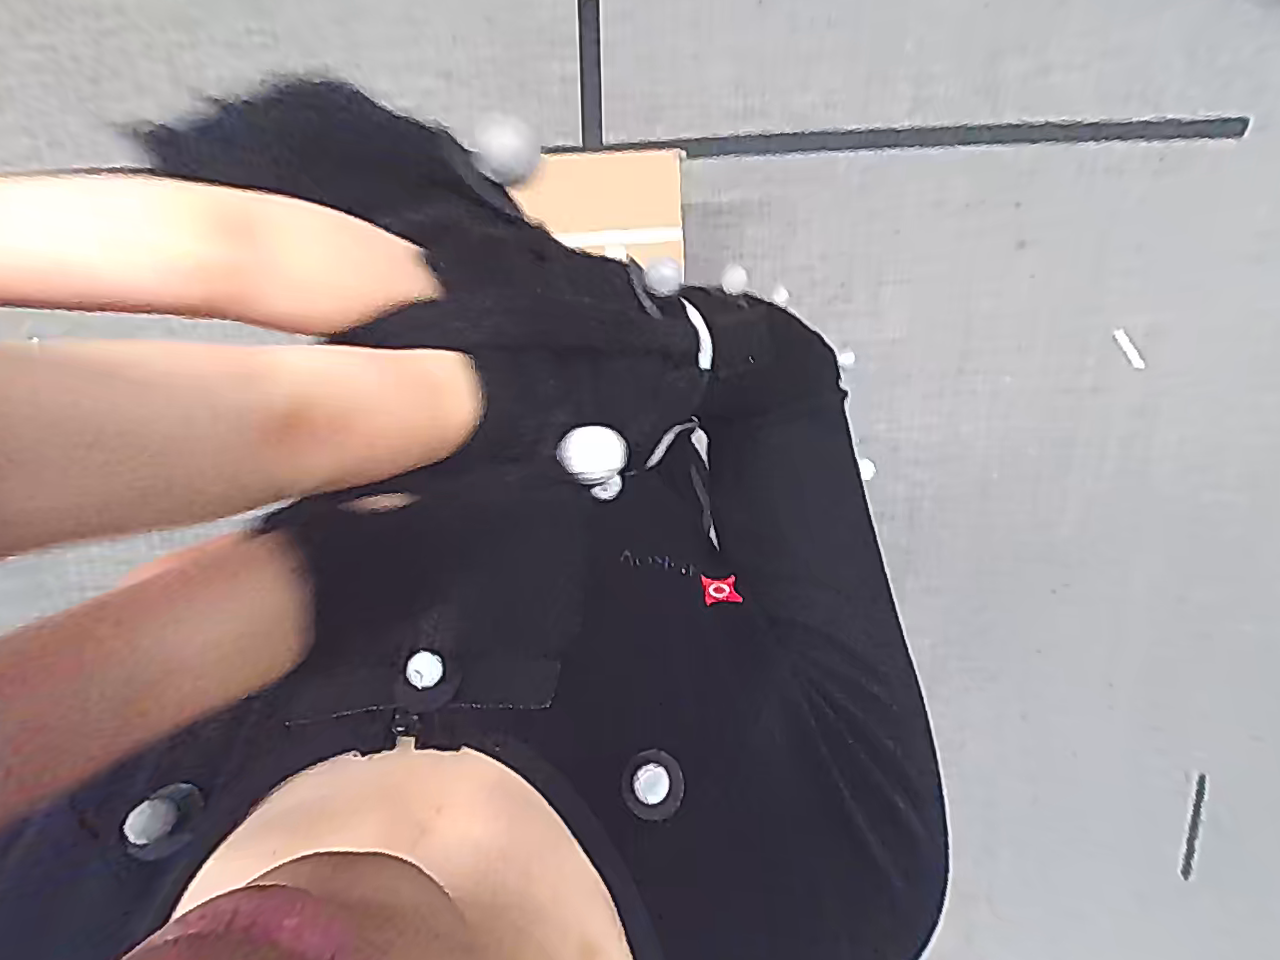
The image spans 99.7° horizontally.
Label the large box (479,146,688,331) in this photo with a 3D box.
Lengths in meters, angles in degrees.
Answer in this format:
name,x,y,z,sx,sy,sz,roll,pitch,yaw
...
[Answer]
name,x,y,z,sx,sy,sz,roll,pitch,yaw
large box,-0.114,-0.520,1.228,0.408,0.320,0.320,-3,102,-1
